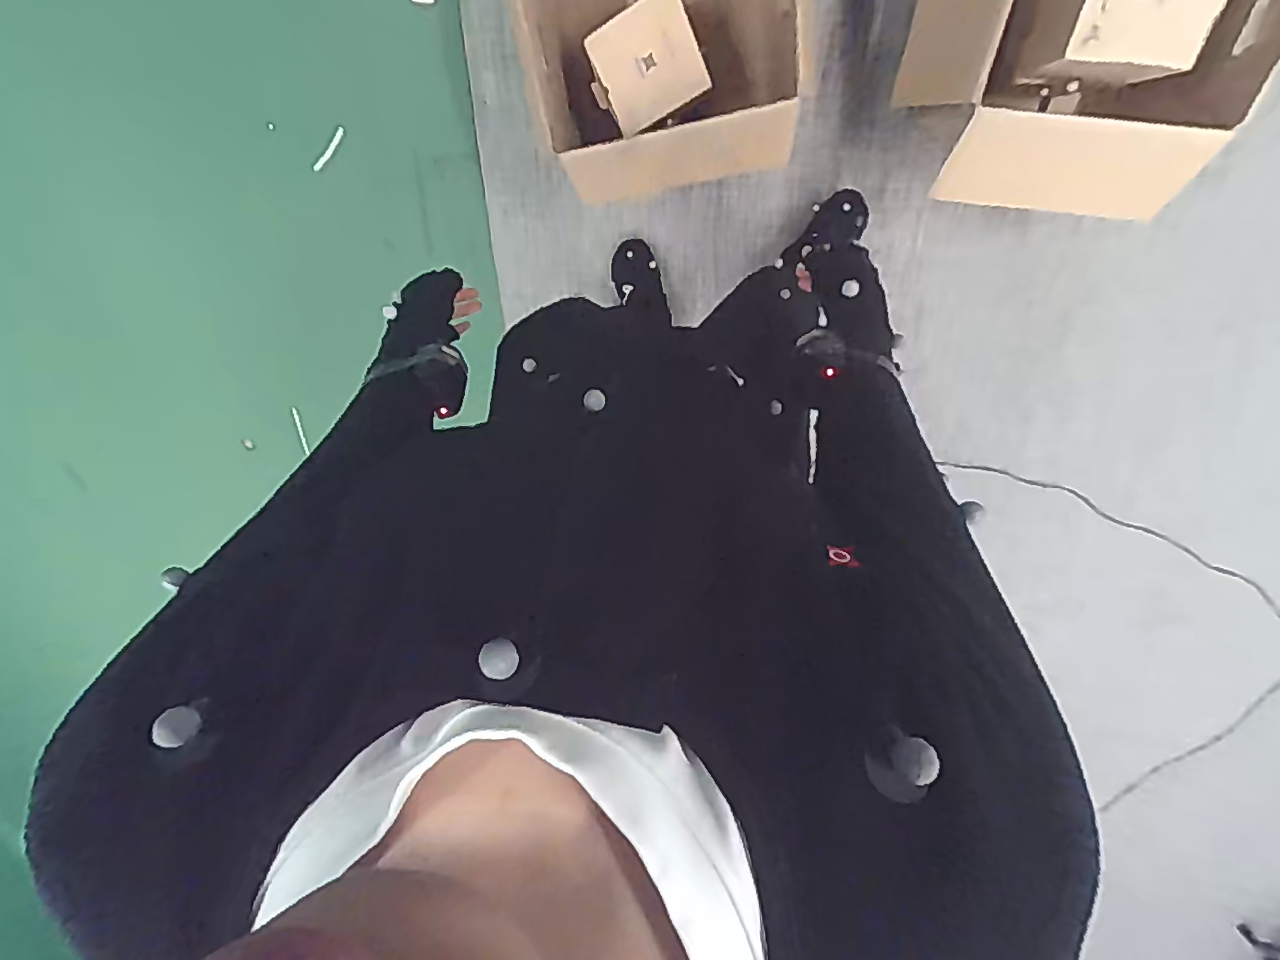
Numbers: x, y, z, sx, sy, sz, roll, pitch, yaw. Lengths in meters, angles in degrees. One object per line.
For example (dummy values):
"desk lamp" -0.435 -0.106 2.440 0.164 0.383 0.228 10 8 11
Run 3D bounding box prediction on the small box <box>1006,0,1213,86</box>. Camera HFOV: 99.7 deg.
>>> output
"small box" 0.698 -0.701 0.801 0.179 0.176 0.168 7 119 3
